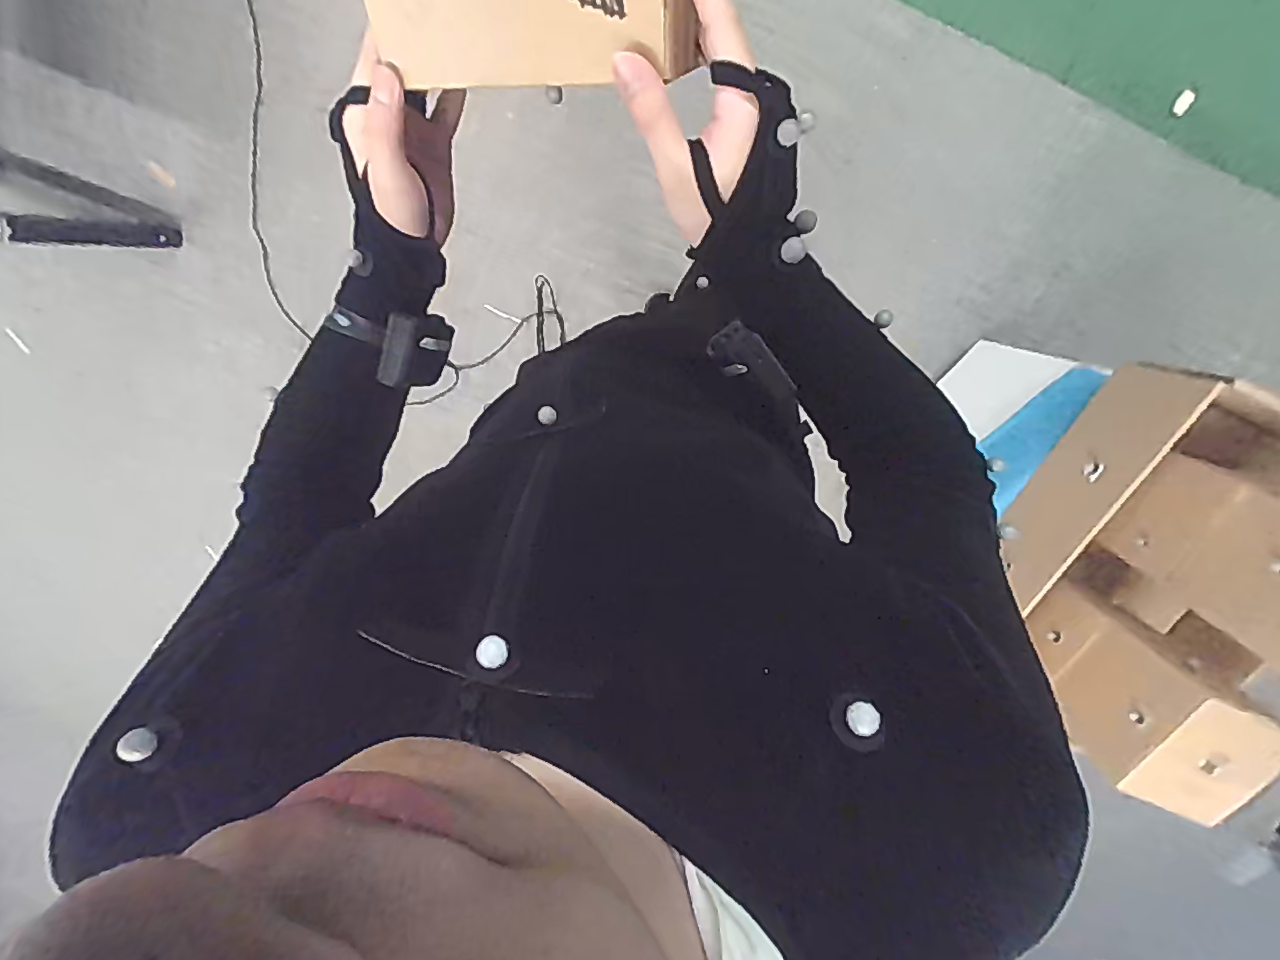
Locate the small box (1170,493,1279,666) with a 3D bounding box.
[{"bbox_3d":[0.866,0.139,0.698,0.168,0.176,0.179,18,113,-3],"label":"small box"}]

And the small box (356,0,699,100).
[{"bbox_3d":[-0.058,-0.337,0.319,0.179,0.176,0.168,7,132,13],"label":"small box"}]

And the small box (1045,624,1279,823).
[{"bbox_3d":[0.751,0.342,0.785,0.168,0.176,0.179,24,110,-6],"label":"small box"}]
